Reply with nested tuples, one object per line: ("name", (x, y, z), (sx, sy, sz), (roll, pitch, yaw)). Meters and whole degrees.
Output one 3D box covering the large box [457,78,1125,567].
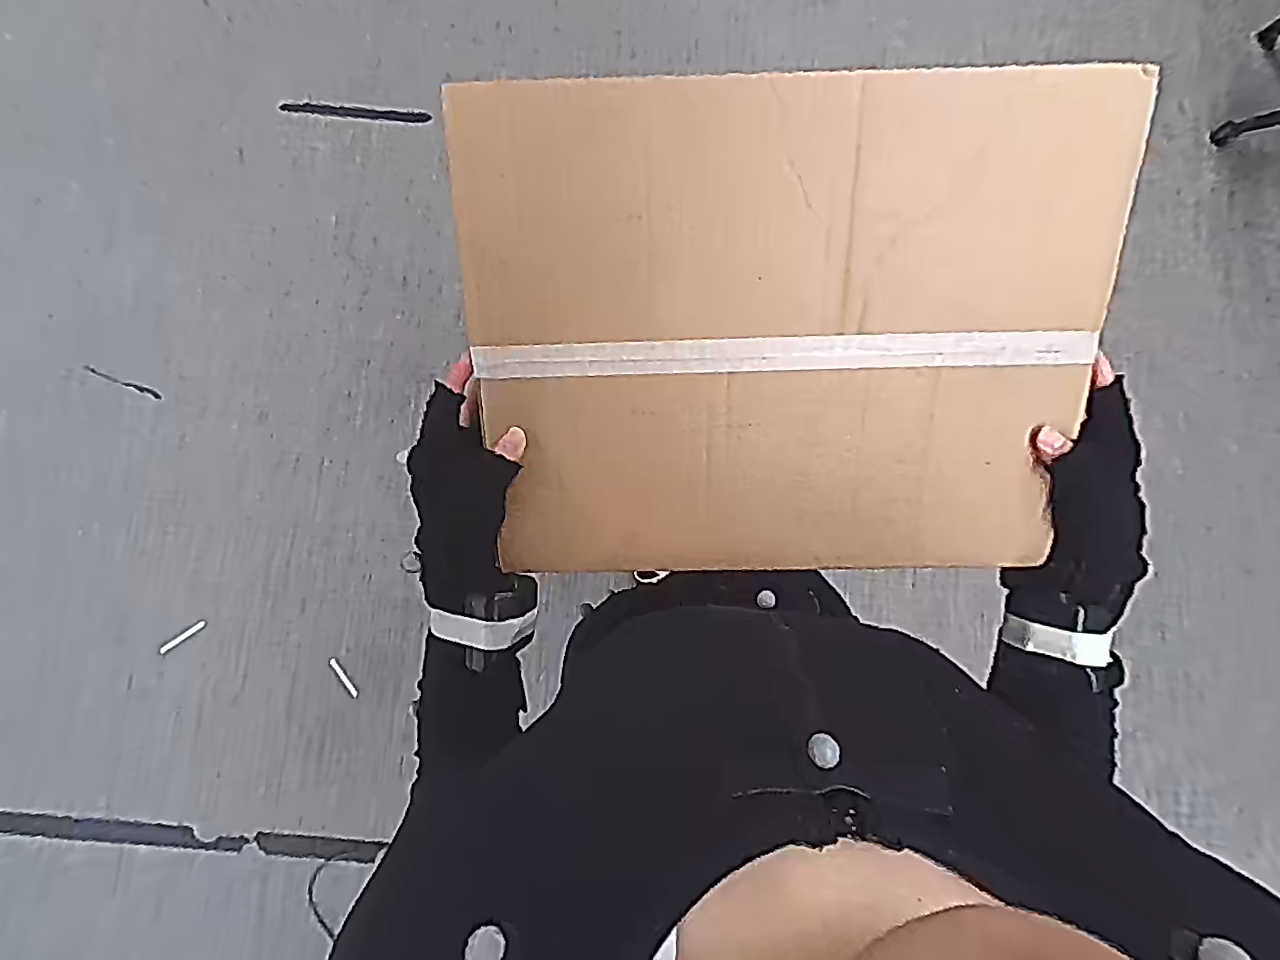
("large box", (0.092, -0.129, 0.506), (0.408, 0.320, 0.320), (-1, 109, 1))
